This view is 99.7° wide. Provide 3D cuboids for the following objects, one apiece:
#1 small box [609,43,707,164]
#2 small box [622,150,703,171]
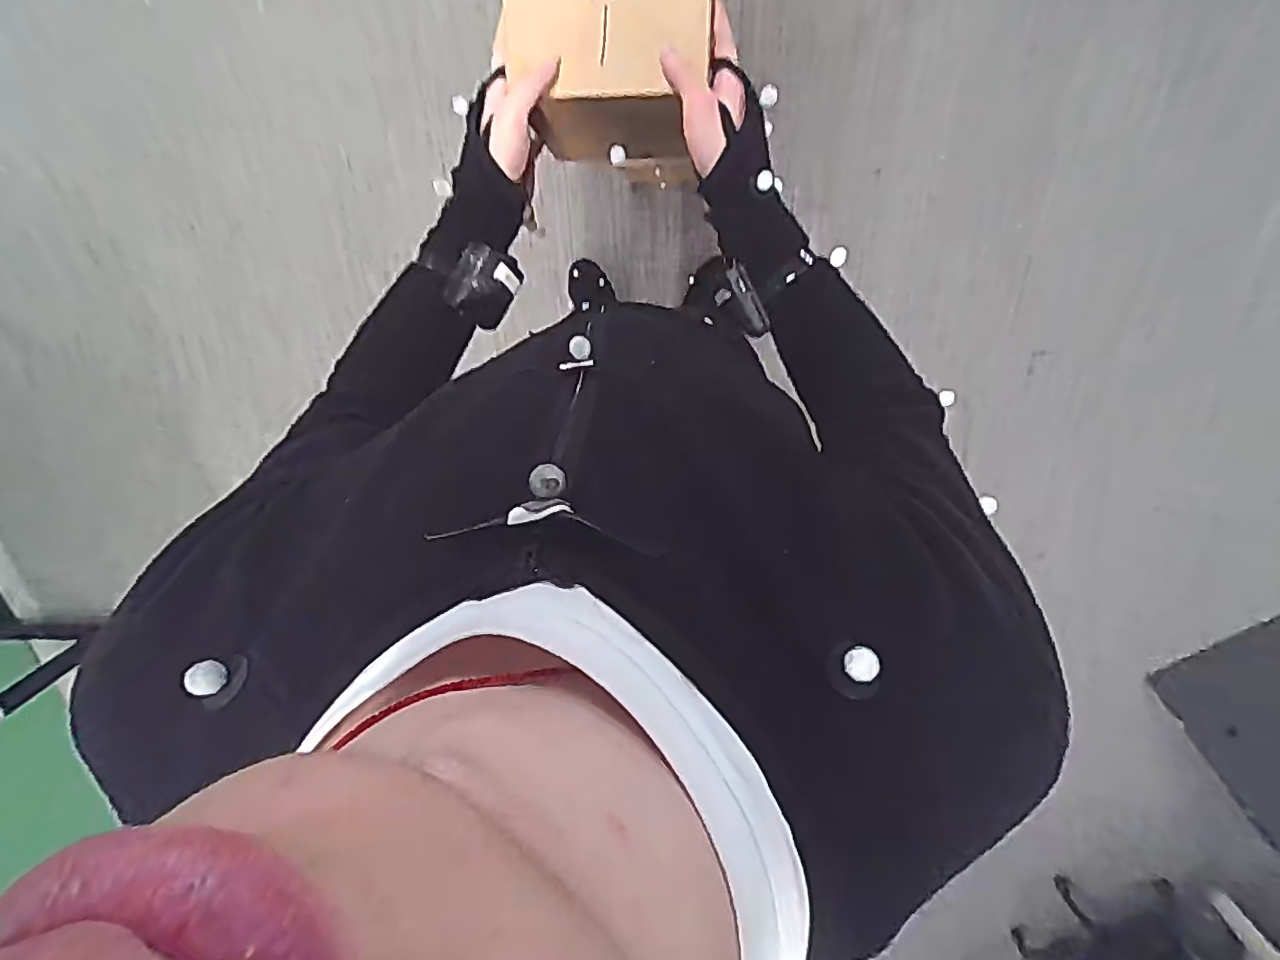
[{"bbox_3d":[0.038,-0.724,1.057,0.179,0.176,0.168,0,114,4],"label":"small box"},{"bbox_3d":[0.049,-0.793,1.205,0.179,0.176,0.168,0,114,4],"label":"small box"}]
